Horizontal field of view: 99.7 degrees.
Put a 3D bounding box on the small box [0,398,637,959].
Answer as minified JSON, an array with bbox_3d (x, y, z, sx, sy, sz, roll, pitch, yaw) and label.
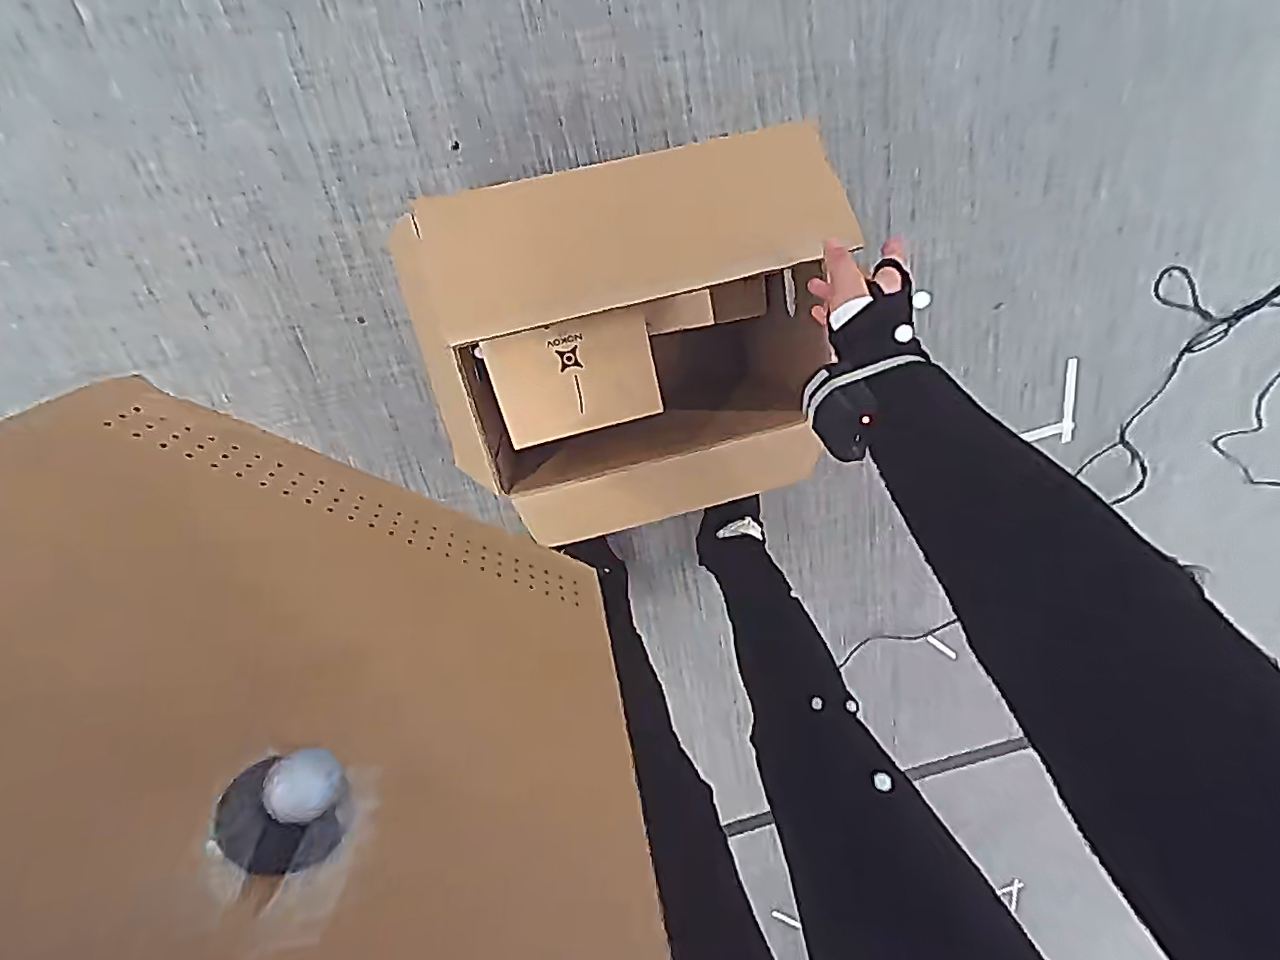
[{"bbox_3d":[-0.115,0.100,0.148,0.179,0.176,0.168,28,107,-23],"label":"small box"}]
